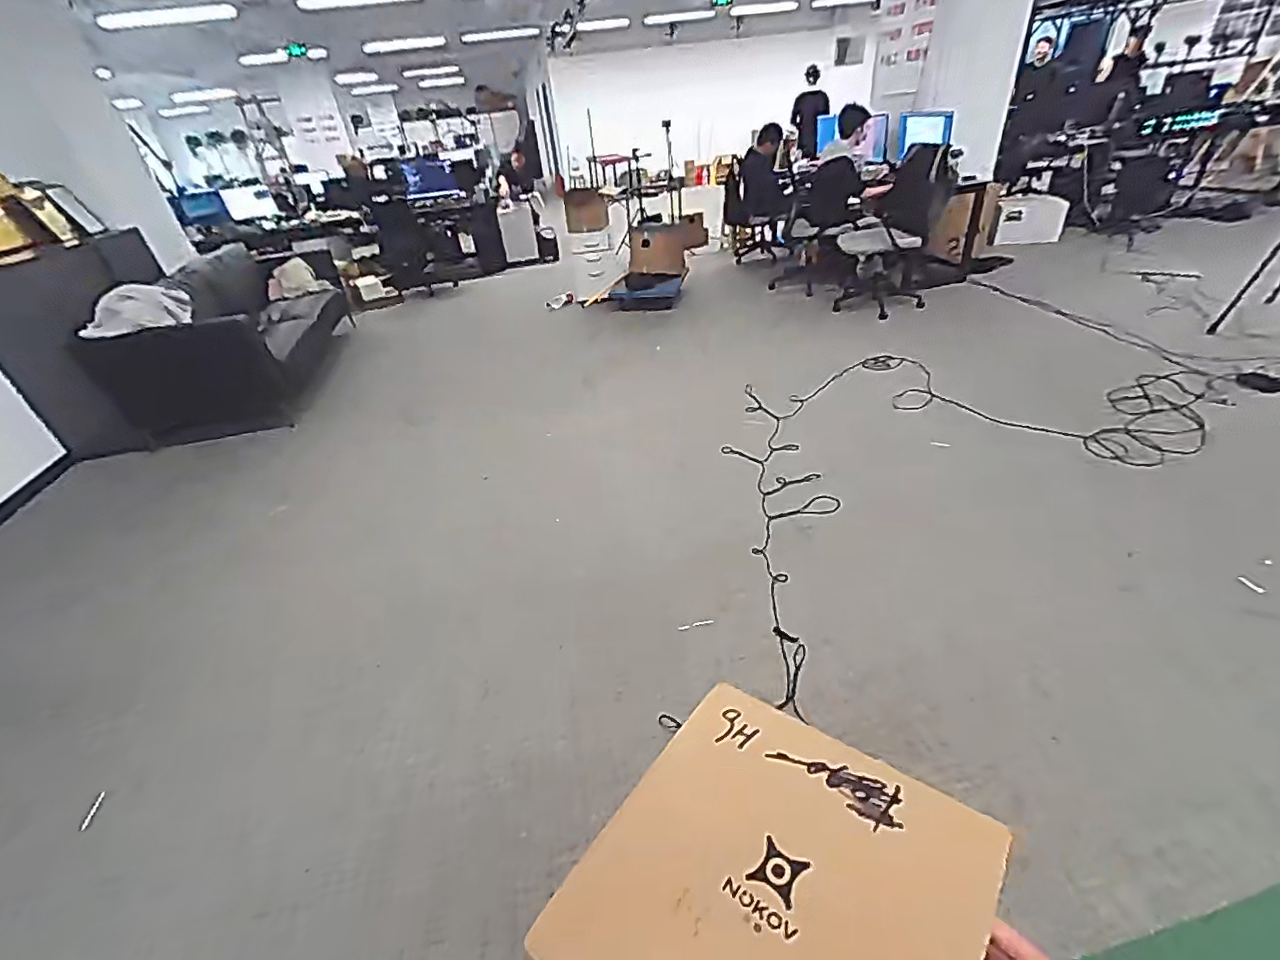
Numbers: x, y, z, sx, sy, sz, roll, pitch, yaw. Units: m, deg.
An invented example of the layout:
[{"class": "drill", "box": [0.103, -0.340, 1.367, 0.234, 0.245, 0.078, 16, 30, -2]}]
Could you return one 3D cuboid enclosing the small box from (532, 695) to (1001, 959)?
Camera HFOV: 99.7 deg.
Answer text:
[{"class": "small box", "box": [0.076, 0.268, 0.298, 0.168, 0.176, 0.179, 14, 39, 38]}]
